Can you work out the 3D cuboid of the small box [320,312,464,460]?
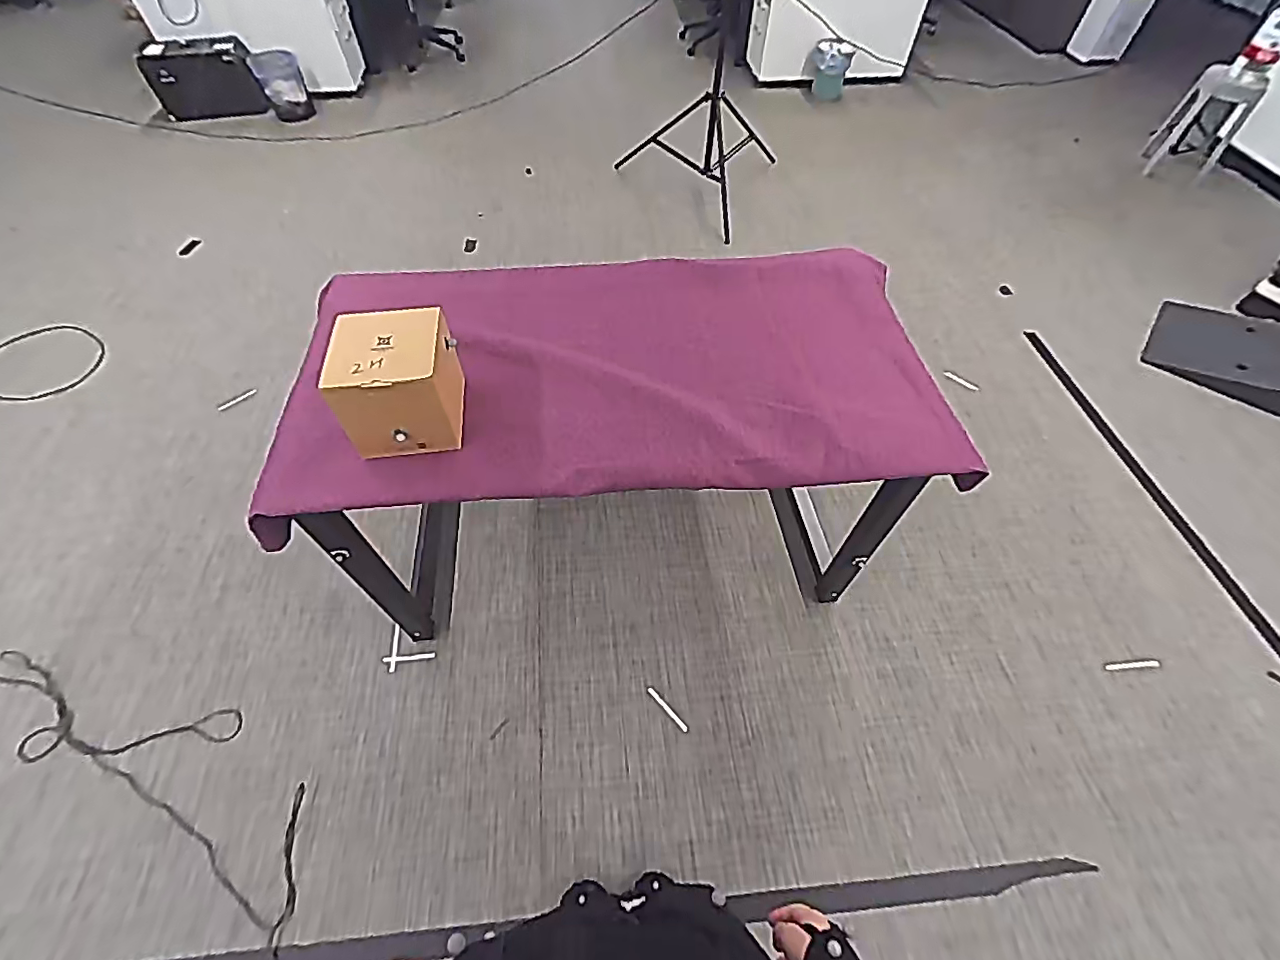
[{"bbox_3d":[-0.403,-0.157,0.913,0.168,0.176,0.179,-7,55,-6],"label":"small box"}]
